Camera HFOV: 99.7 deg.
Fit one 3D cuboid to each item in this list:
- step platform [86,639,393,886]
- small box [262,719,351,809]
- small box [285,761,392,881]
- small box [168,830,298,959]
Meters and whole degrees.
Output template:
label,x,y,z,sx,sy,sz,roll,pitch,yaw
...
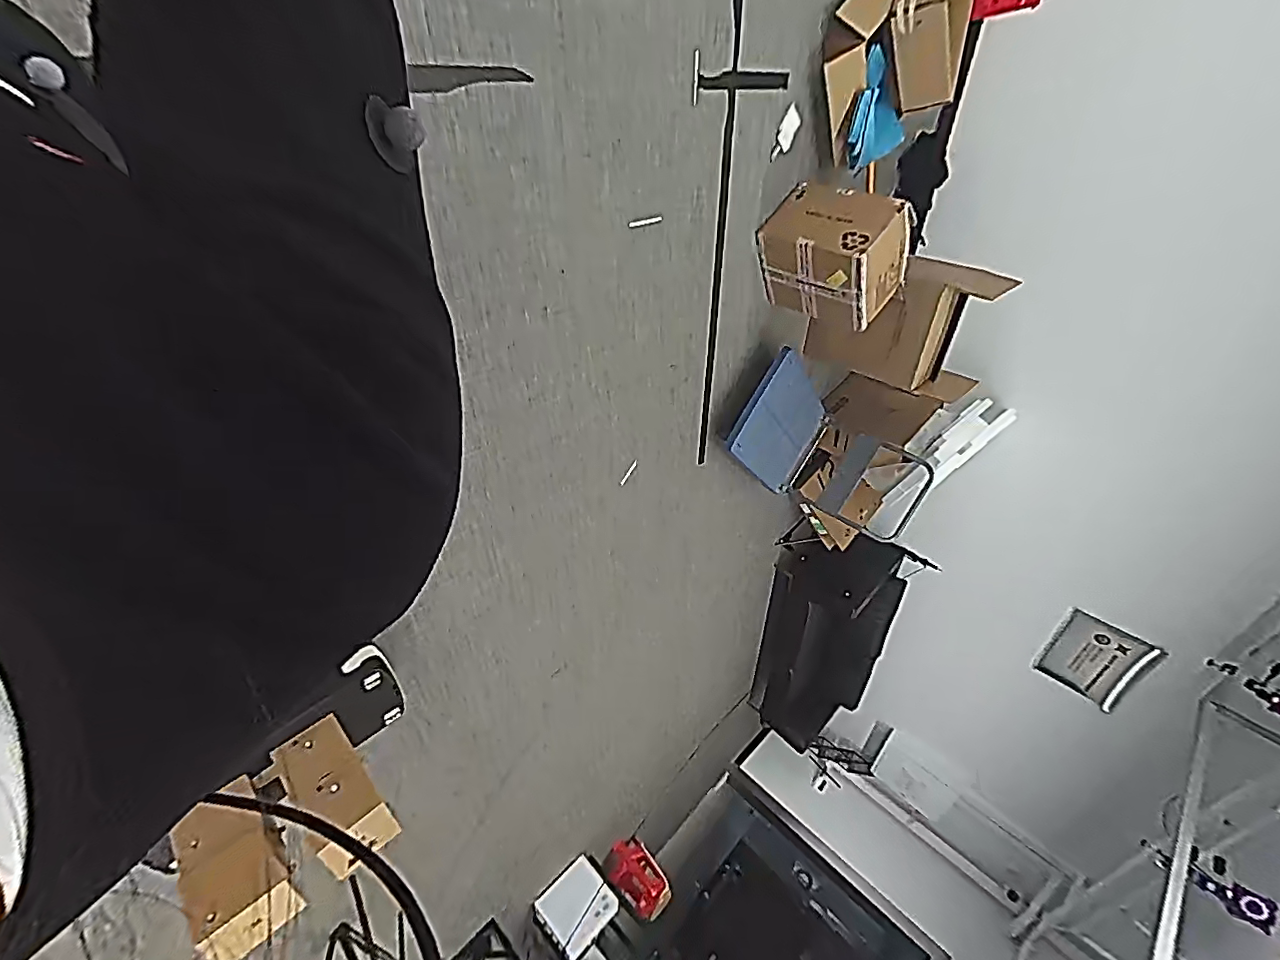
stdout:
label,x,y,z,sx,sy,sz,roll,pitch,yaw
step platform,-1.074,0.773,1.537,0.684,0.204,0.286,-33,139,-35
small box,-0.892,0.797,1.479,0.168,0.176,0.179,-31,137,-36
small box,-0.772,0.869,1.391,0.168,0.176,0.179,-31,137,-36
small box,-0.940,0.965,1.252,0.179,0.176,0.168,-29,136,-37
